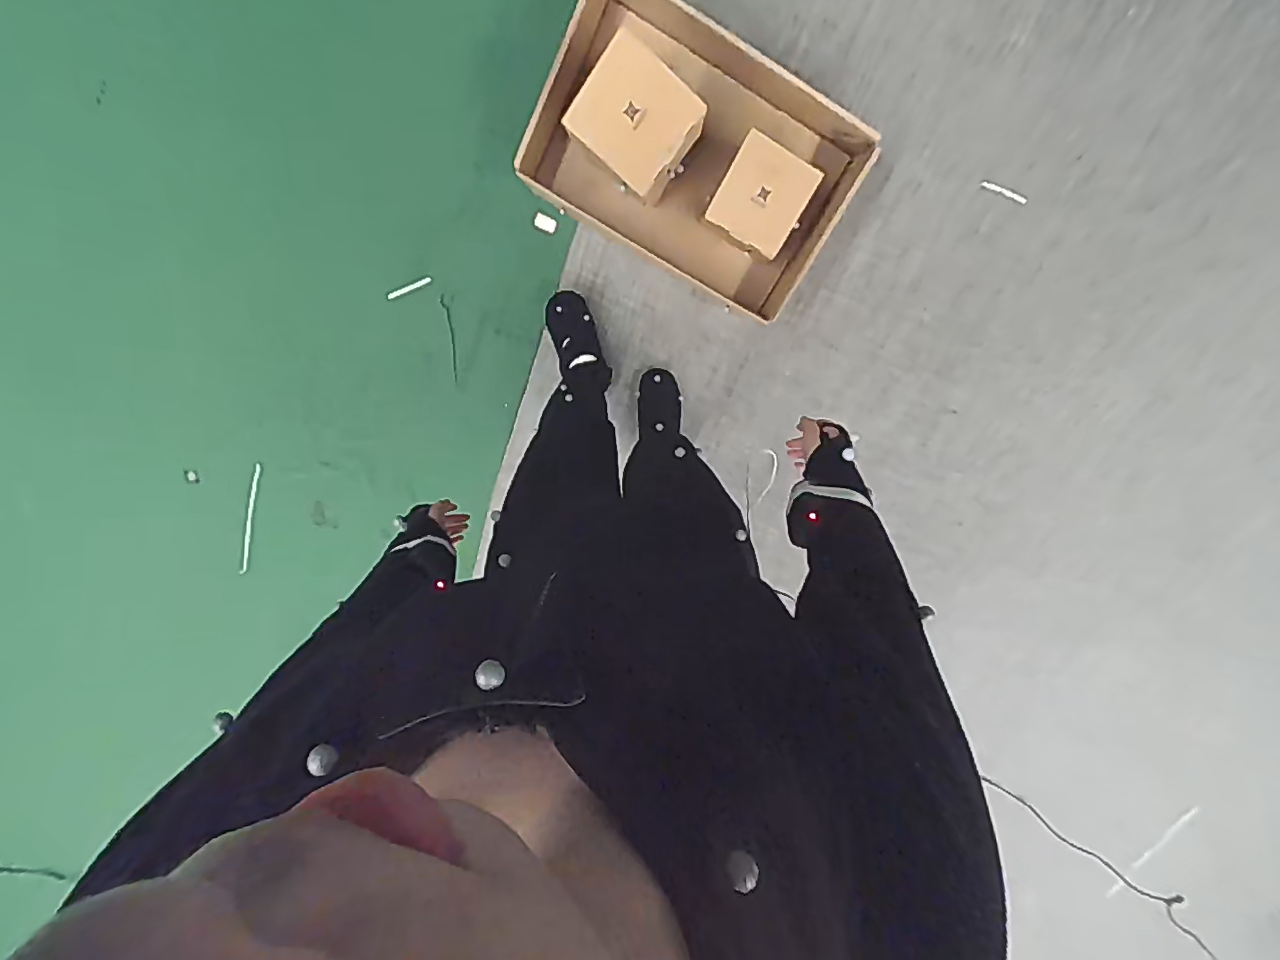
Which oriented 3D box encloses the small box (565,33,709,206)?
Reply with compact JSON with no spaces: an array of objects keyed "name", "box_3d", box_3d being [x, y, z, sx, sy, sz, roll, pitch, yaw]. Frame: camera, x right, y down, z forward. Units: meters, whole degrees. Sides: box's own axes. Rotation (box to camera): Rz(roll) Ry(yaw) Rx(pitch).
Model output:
[{"name":"small box","box_3d":[-0.004,-0.606,0.942,0.179,0.176,0.168,37,108,-12]}]
